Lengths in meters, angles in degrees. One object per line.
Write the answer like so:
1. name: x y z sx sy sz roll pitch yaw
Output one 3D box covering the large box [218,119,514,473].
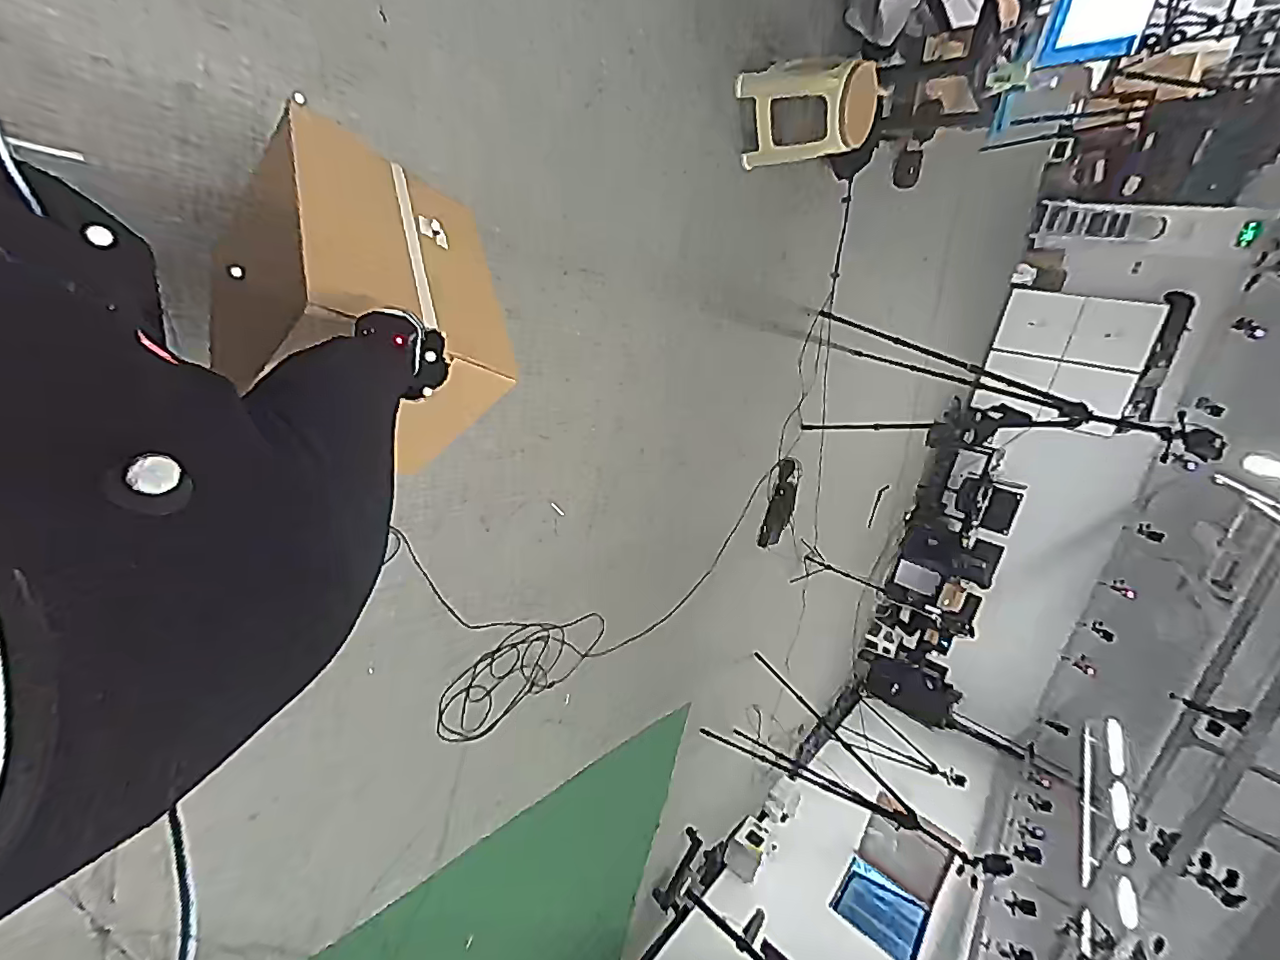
1. large box: -0.468 -0.268 0.902 0.320 0.408 0.320 -35 152 27
